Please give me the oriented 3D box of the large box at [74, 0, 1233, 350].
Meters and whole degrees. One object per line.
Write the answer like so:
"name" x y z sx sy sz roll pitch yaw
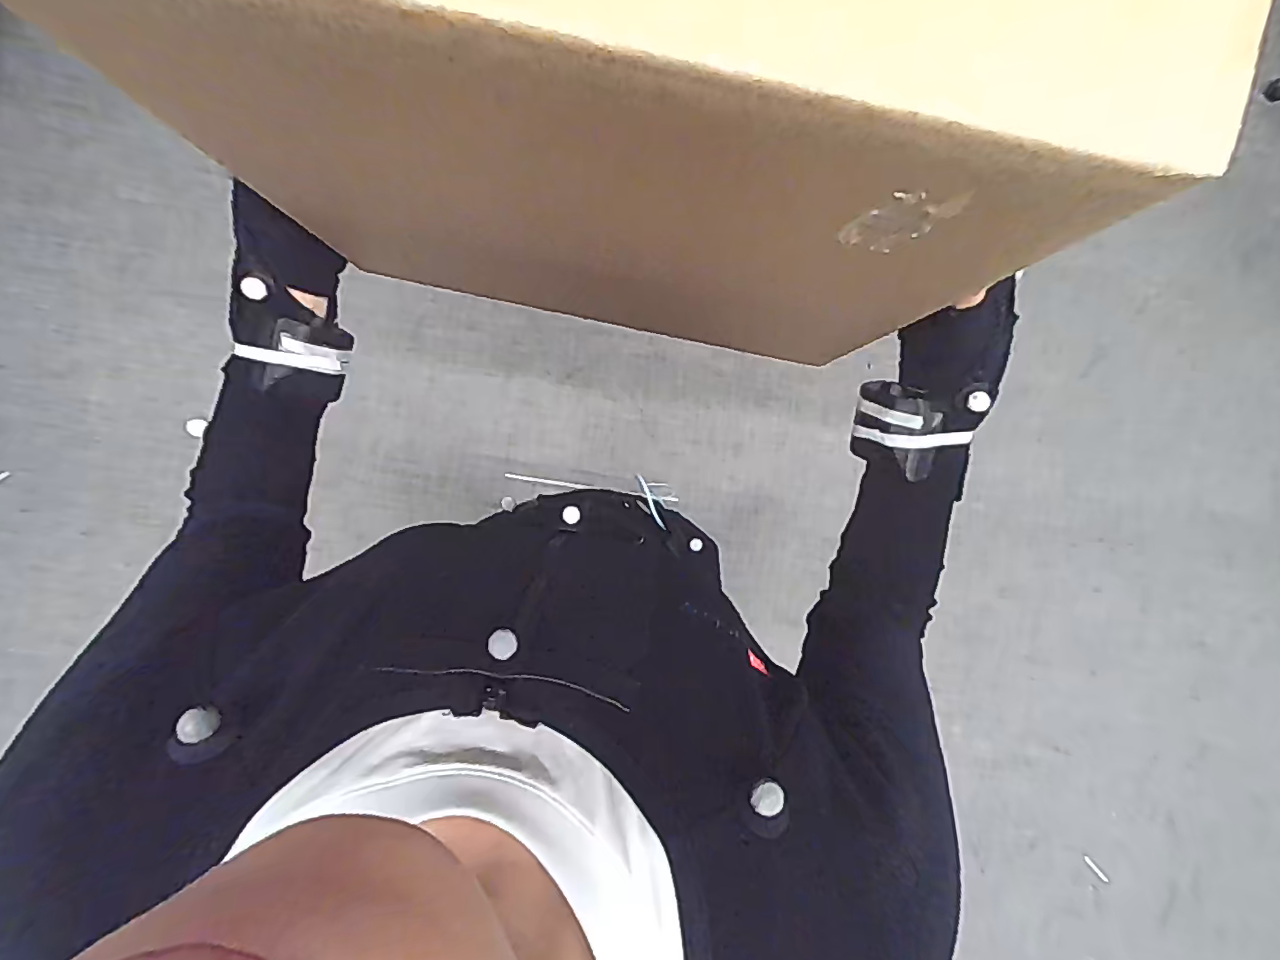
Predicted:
"large box" 0.002 -0.290 0.308 0.408 0.320 0.320 11 92 -4
